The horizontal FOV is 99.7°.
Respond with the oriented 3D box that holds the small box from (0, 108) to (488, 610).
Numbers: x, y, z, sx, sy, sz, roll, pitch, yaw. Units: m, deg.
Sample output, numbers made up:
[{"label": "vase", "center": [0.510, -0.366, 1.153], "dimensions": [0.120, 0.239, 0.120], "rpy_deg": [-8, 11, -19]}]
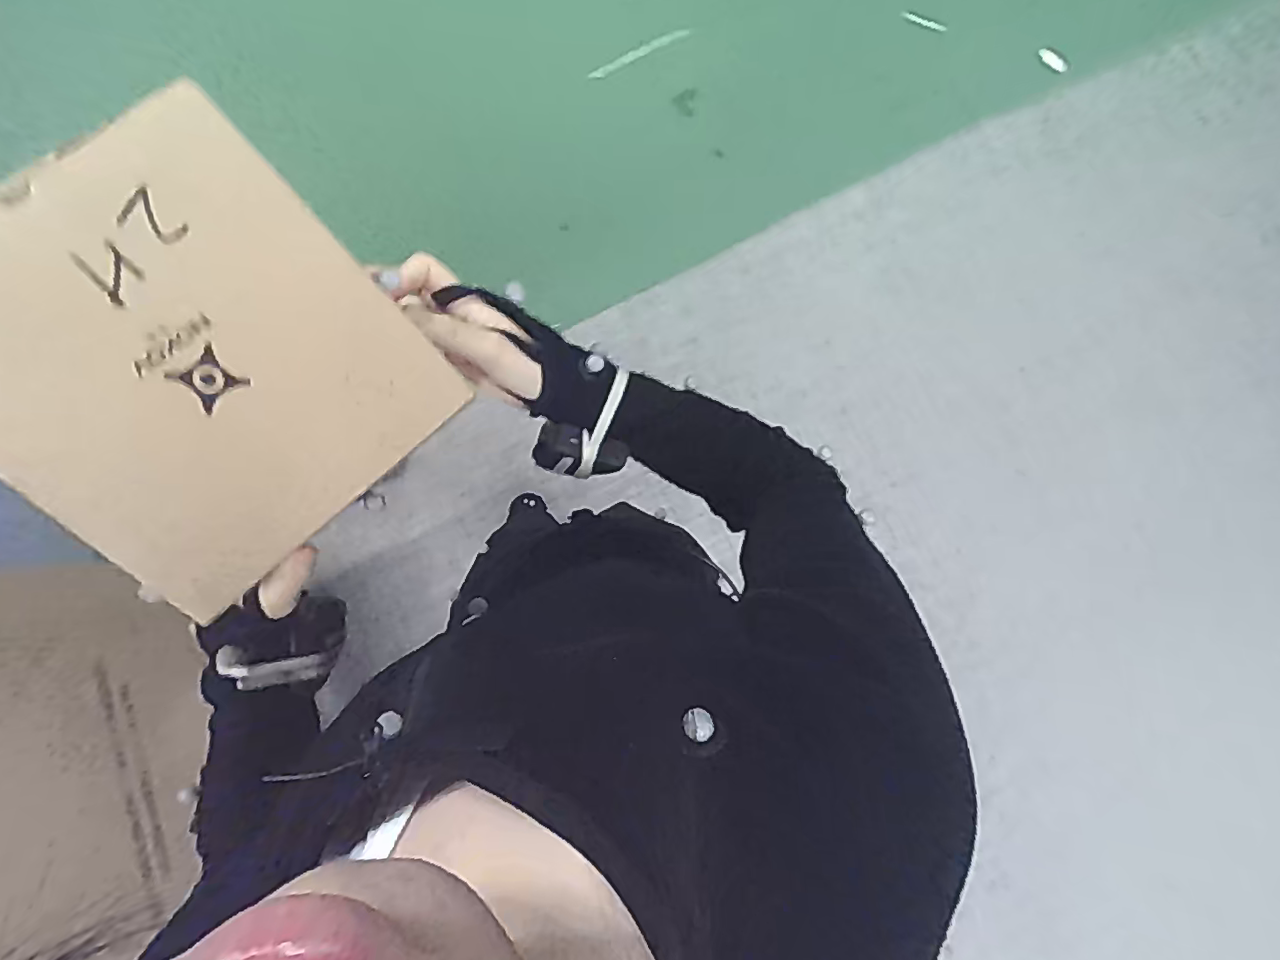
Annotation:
[{"label": "small box", "center": [-0.216, -0.060, 0.326], "dimensions": [0.168, 0.176, 0.179], "rpy_deg": [-42, 108, -11]}]
